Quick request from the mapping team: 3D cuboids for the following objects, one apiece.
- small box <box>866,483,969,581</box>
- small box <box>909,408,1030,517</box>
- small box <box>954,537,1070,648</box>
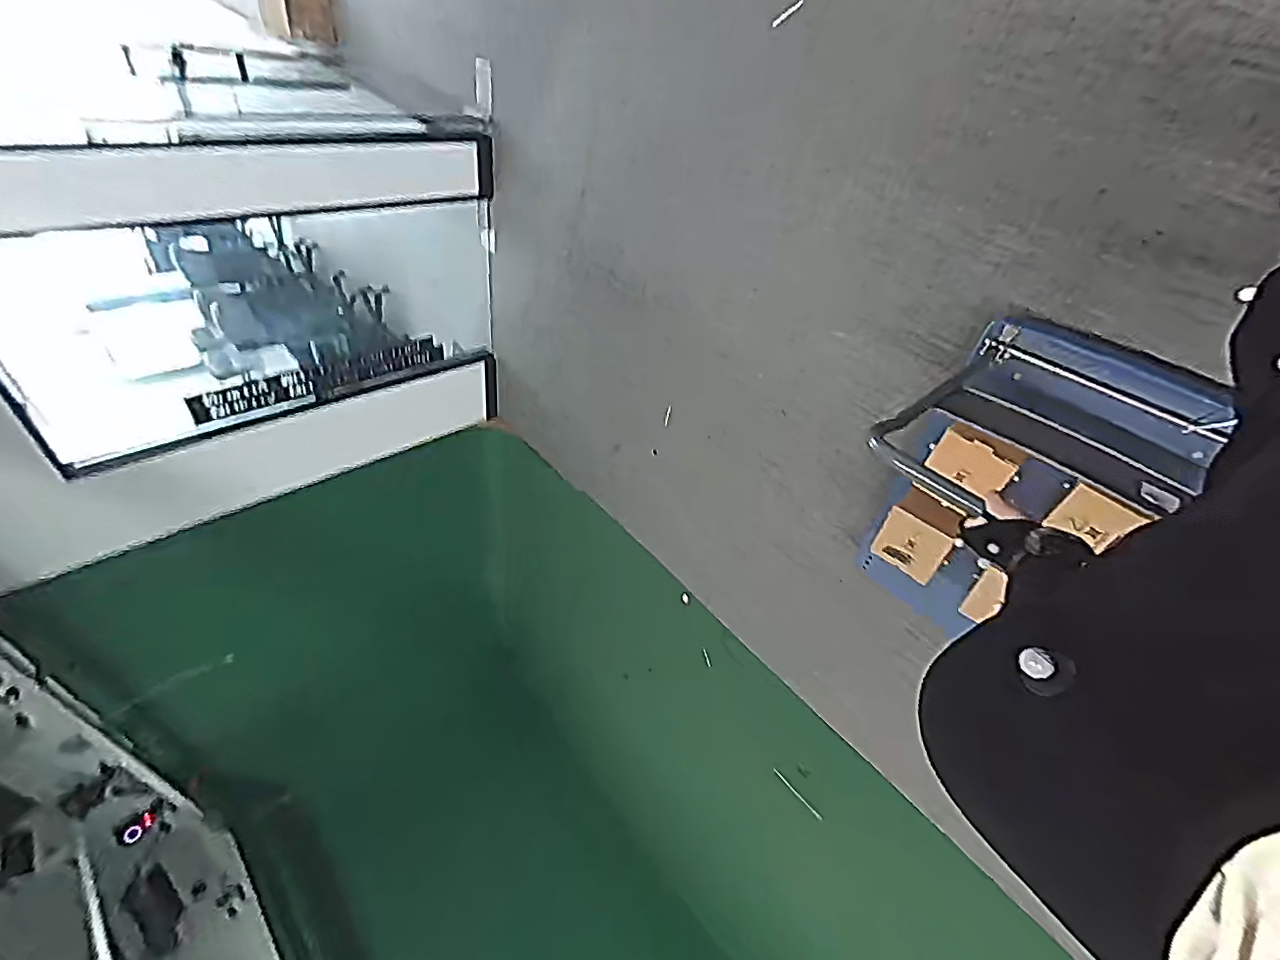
[{"bbox_3d":[0.763,0.136,1.483,0.168,0.176,0.179,37,136,30],"label":"small box"},{"bbox_3d":[0.806,-0.047,1.321,0.168,0.176,0.179,40,138,28],"label":"small box"},{"bbox_3d":[0.938,0.275,1.360,0.168,0.176,0.179,36,136,32],"label":"small box"}]
